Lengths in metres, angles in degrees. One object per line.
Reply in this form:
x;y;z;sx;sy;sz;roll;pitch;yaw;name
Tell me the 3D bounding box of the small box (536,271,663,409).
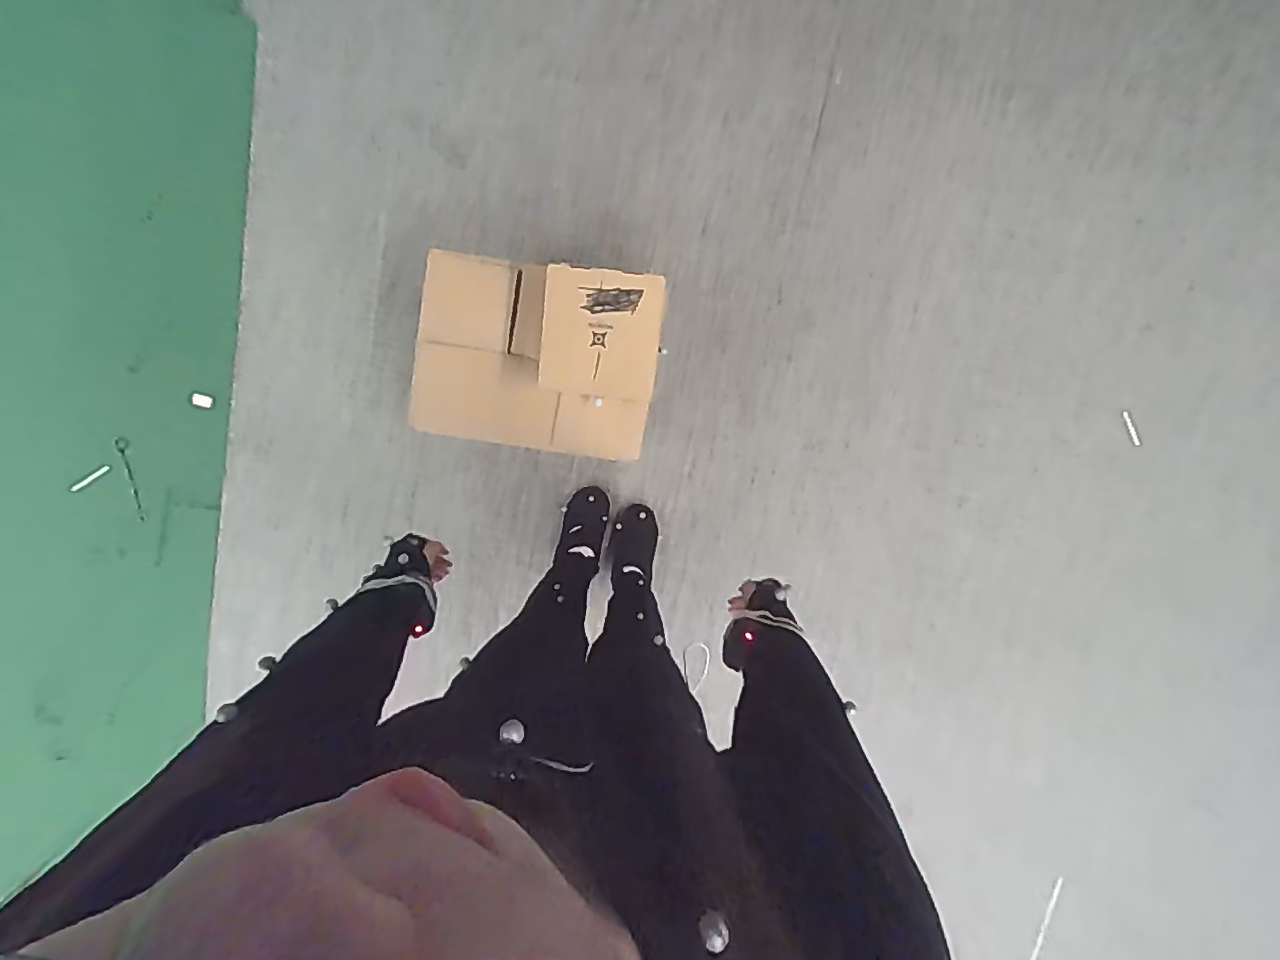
-0.057;-0.210;0.847;0.168;0.176;0.179;7;99;1;small box
